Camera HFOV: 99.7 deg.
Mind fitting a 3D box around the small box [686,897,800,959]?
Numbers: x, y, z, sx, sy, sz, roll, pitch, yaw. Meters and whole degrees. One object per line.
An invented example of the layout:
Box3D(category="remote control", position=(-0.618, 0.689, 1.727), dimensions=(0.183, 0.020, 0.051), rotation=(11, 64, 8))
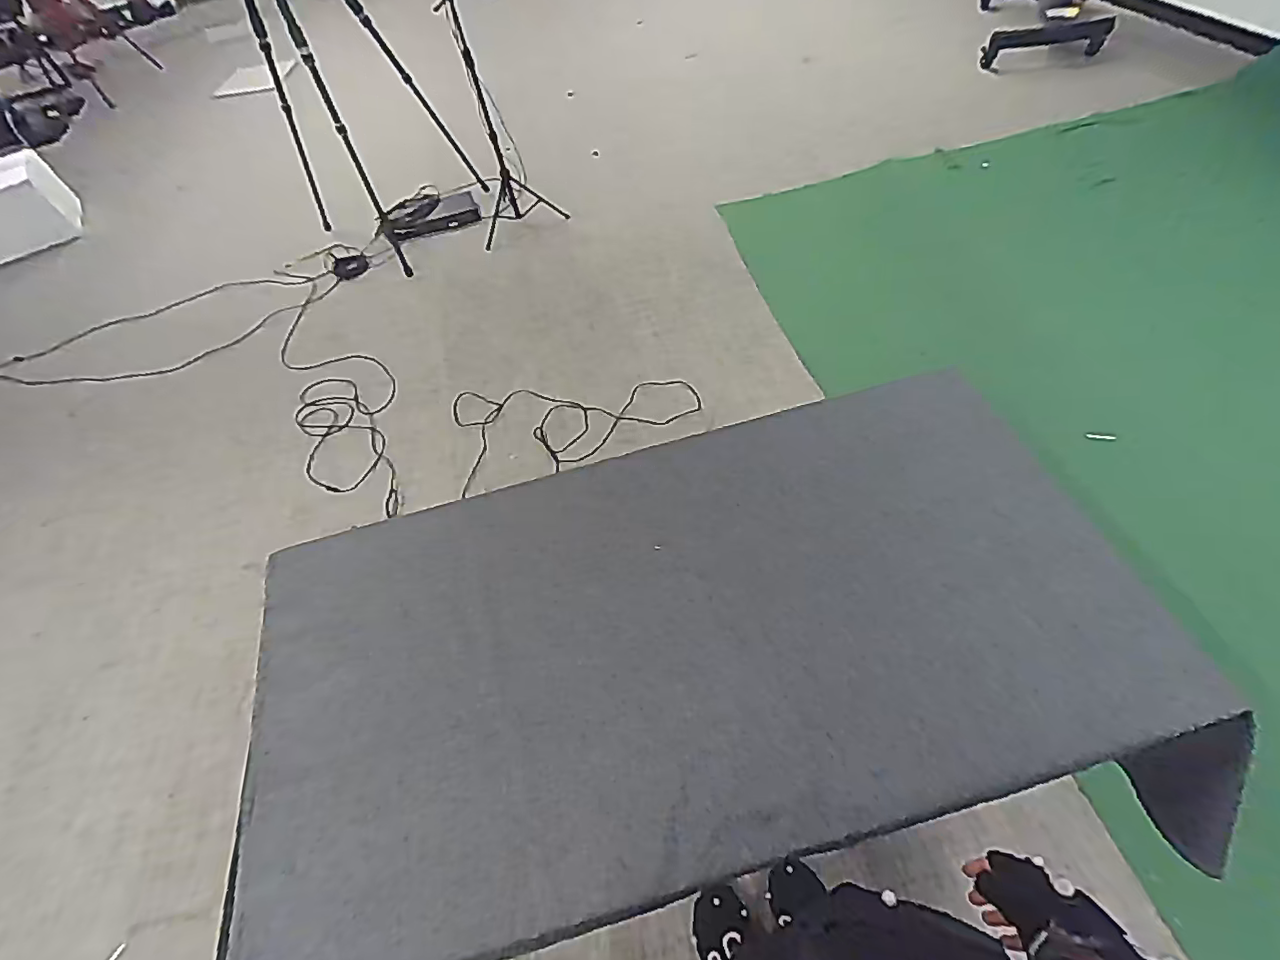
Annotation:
Box3D(category="small box", position=(0.188, 0.942, 1.036), dimensions=(0.179, 0.176, 0.168), rotation=(6, 66, 33))
